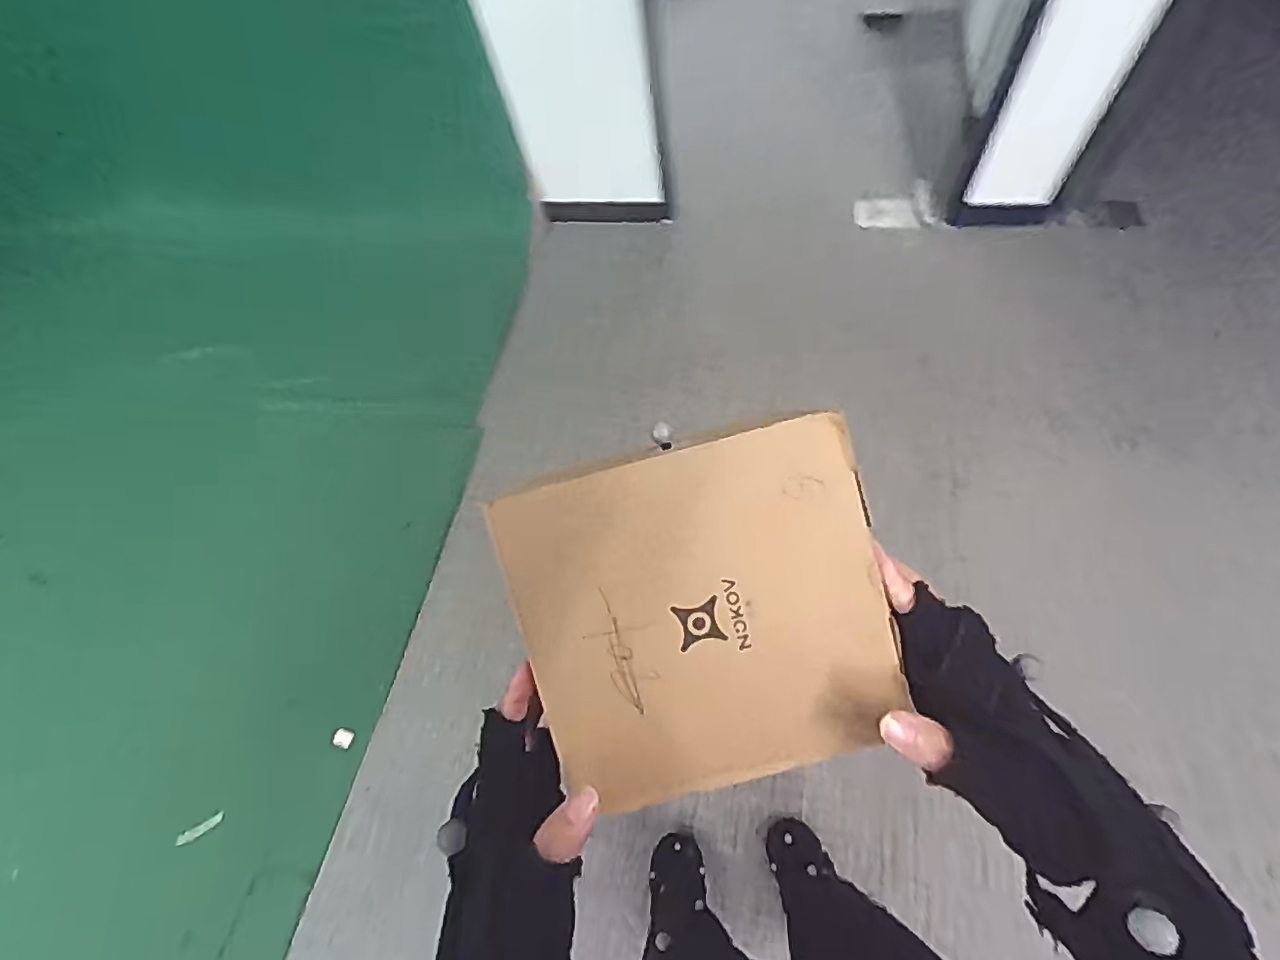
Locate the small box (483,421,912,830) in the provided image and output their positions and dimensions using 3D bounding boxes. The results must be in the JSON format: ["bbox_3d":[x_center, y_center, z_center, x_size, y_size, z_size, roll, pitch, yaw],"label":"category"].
[{"bbox_3d":[0.028,0.065,0.340,0.179,0.176,0.168,-18,94,1],"label":"small box"}]
